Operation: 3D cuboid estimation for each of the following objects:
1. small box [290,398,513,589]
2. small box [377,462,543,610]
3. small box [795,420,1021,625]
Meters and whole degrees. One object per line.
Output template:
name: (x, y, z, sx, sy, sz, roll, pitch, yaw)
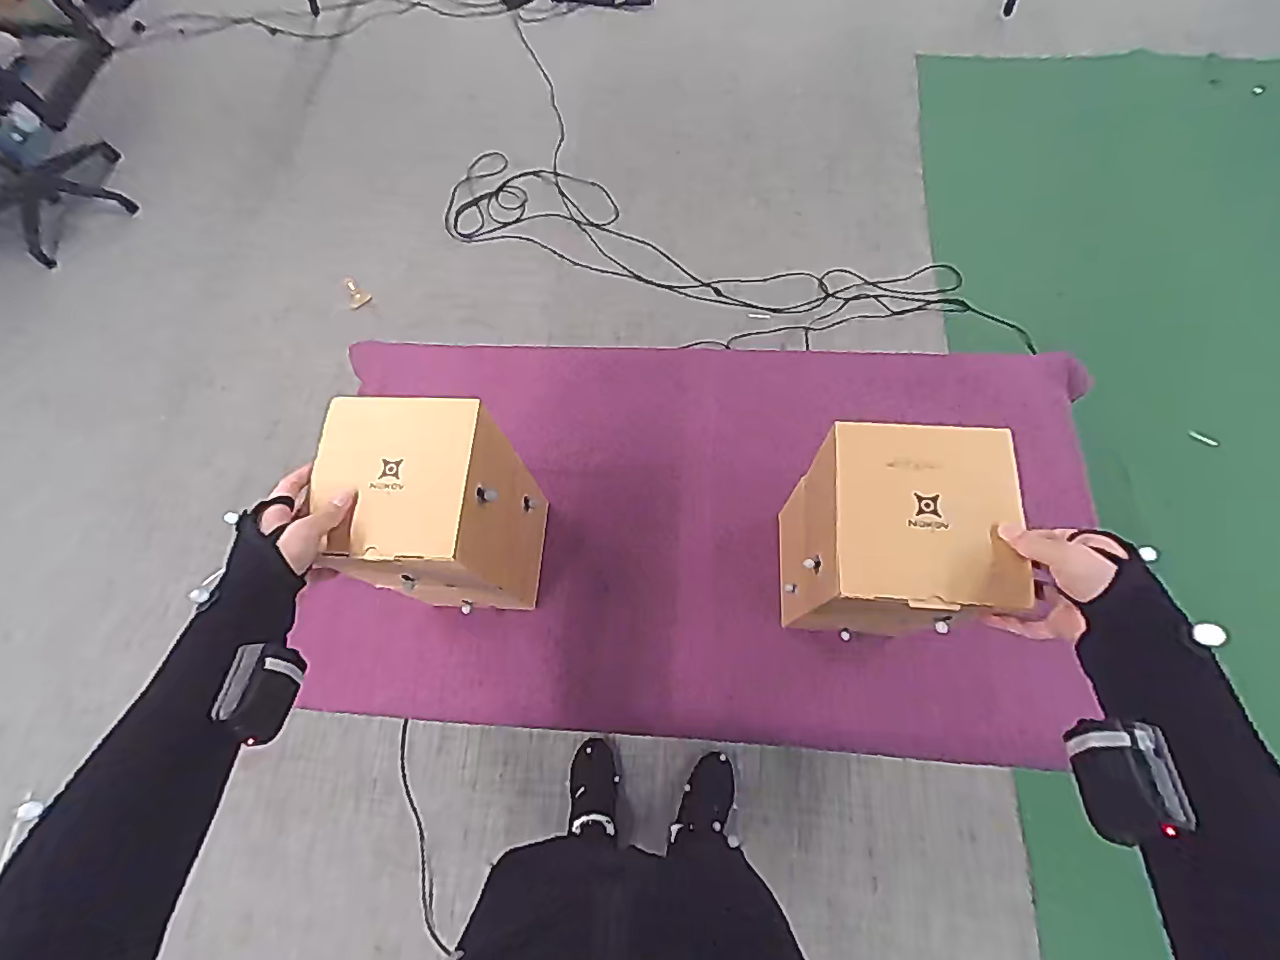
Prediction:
small box: (-0.254, 0.022, 0.628, 0.168, 0.176, 0.179, 1, 70, 4)
small box: (-0.244, 0.082, 0.779, 0.168, 0.176, 0.179, 2, 68, 5)
small box: (0.264, 0.054, 0.577, 0.168, 0.176, 0.179, 4, 69, 7)
